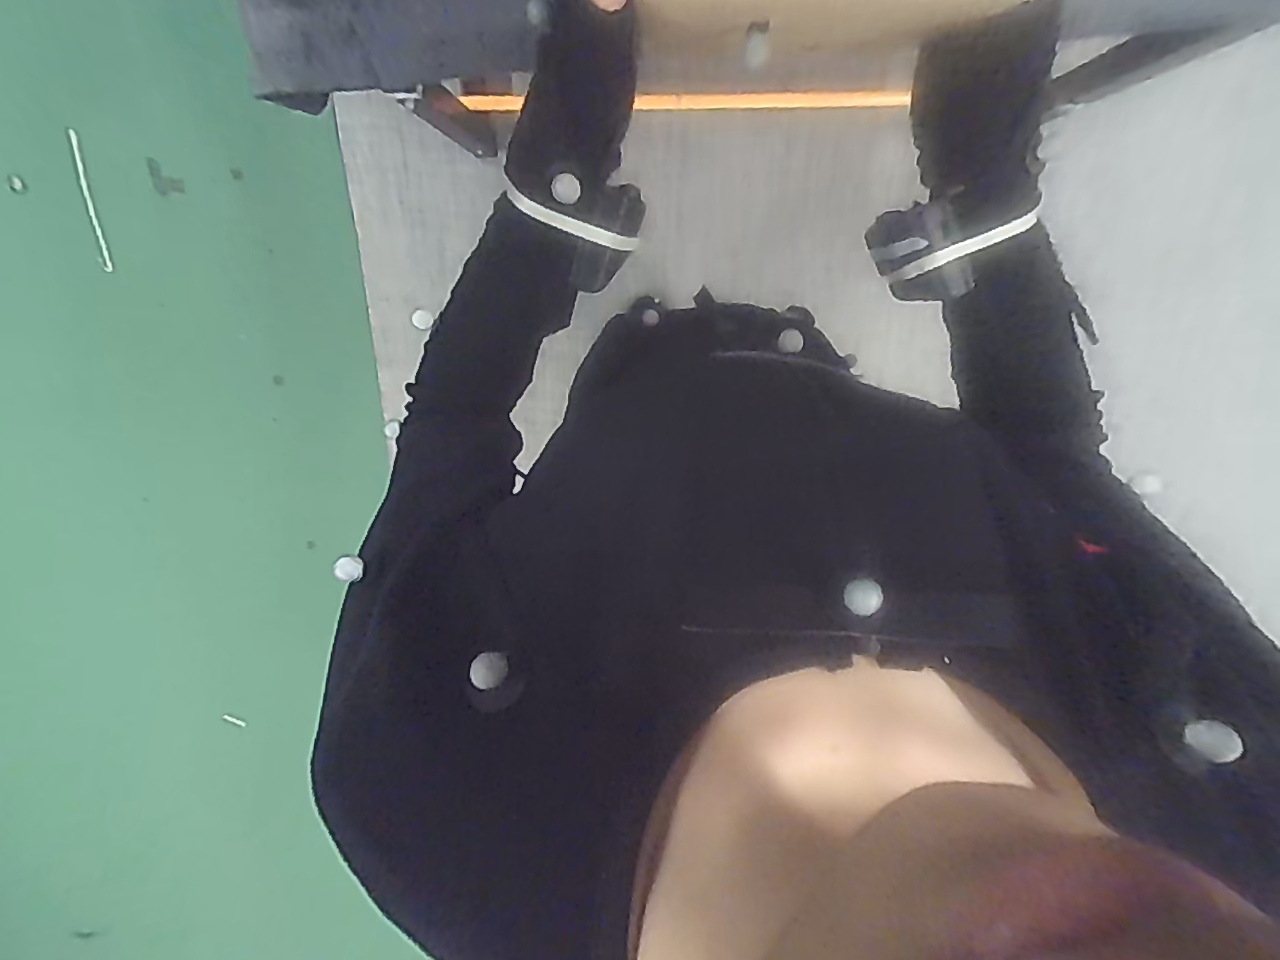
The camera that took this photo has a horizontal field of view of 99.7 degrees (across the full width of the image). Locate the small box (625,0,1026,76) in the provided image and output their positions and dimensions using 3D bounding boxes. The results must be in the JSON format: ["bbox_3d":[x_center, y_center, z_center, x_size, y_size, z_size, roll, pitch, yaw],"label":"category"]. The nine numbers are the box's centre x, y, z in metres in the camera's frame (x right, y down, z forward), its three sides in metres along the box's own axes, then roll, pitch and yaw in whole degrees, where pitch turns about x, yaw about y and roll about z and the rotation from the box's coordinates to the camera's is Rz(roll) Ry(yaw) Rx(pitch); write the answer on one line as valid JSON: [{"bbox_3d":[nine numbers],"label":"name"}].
[{"bbox_3d":[0.080,-0.304,0.248,0.168,0.176,0.179,1,119,2],"label":"small box"}]
